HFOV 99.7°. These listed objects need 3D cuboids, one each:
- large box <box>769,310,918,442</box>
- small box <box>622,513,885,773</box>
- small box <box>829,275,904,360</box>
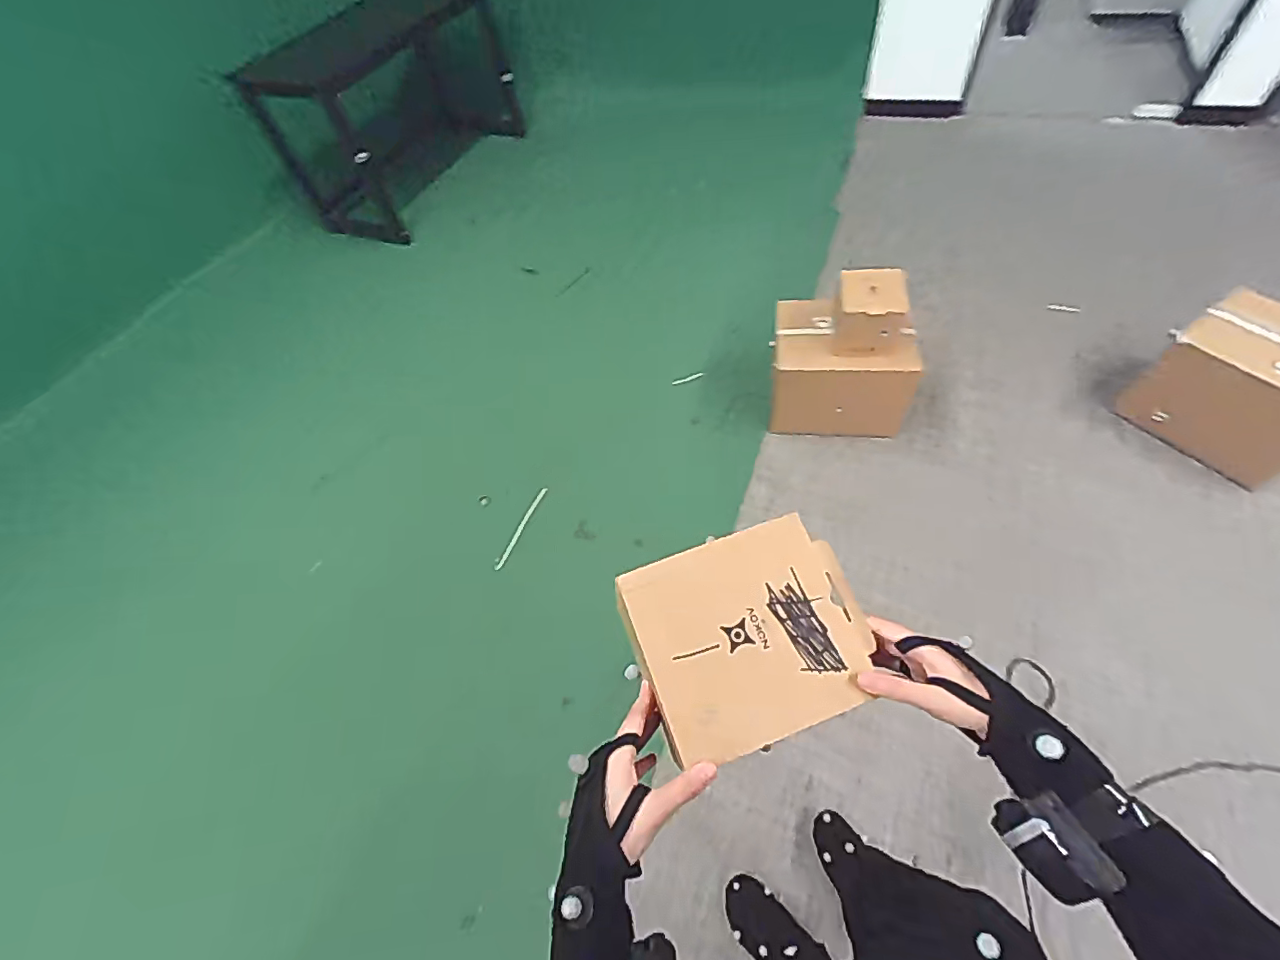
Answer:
[{"bbox_3d":[0.634,-0.335,1.765,0.408,0.320,0.320,1,55,11],"label":"large box"},{"bbox_3d":[0.087,0.153,0.517,0.179,0.176,0.168,-18,69,-8],"label":"small box"},{"bbox_3d":[0.641,-0.460,1.549,0.168,0.176,0.179,3,57,11],"label":"small box"}]
